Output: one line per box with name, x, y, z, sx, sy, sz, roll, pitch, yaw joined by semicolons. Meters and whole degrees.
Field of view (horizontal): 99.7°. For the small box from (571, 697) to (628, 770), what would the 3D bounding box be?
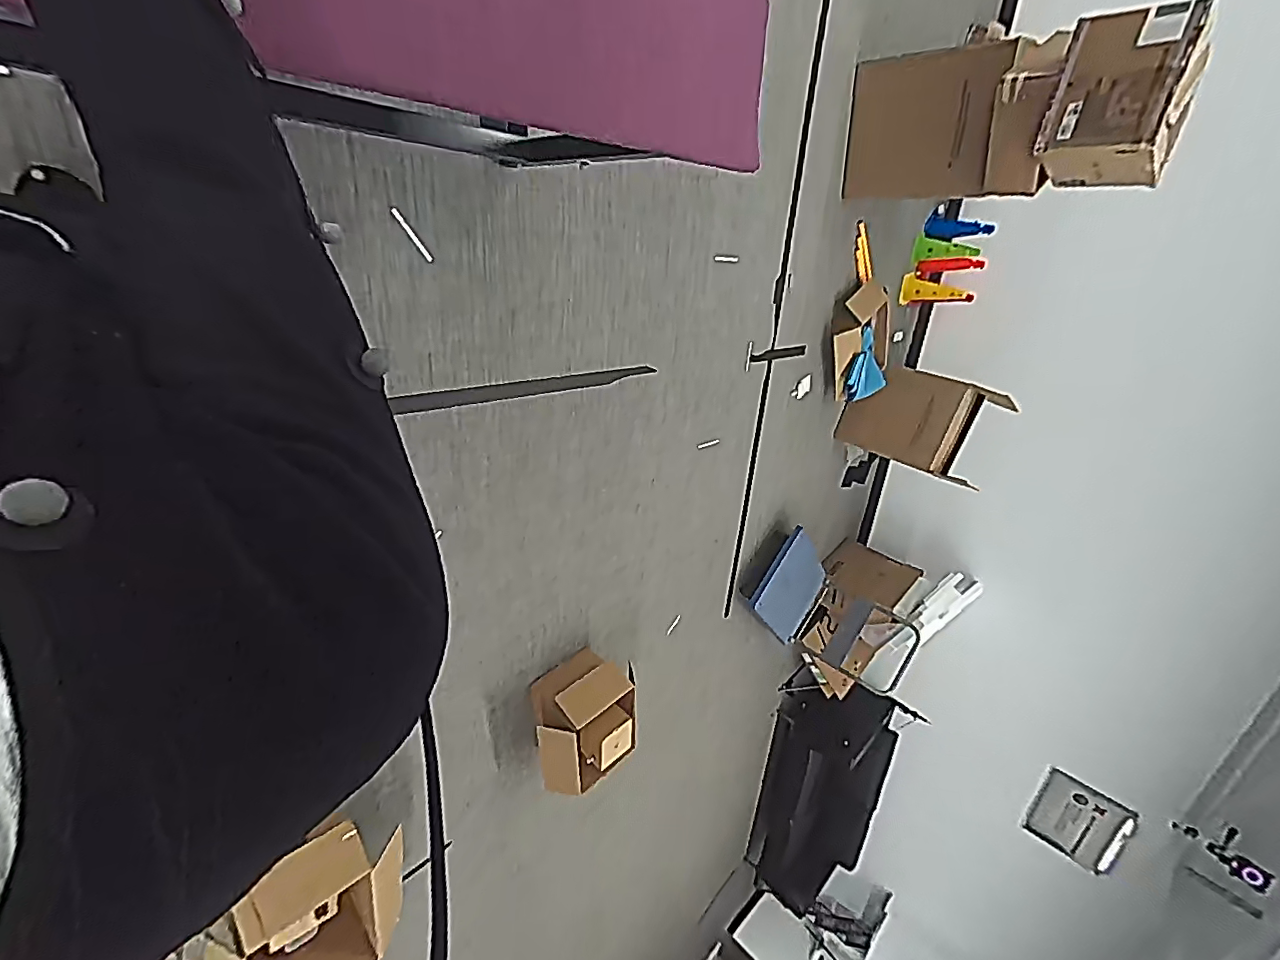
small box;-0.168;1.028;2.206;0.168;0.176;0.179;-22;124;-42
